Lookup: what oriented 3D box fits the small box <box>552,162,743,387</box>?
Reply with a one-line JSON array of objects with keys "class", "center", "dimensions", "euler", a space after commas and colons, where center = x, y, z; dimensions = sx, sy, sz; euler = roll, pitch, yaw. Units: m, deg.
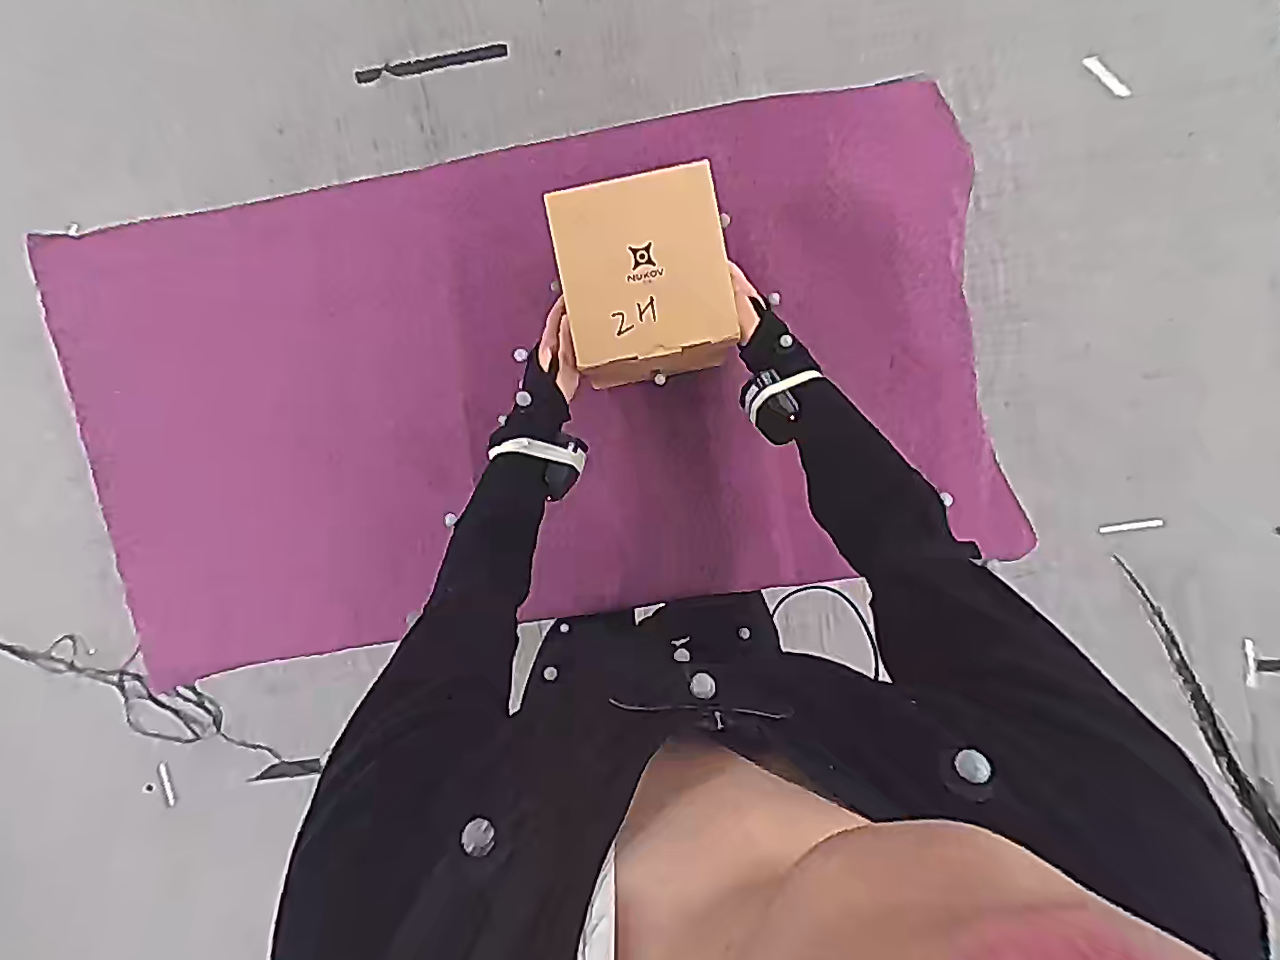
[{"class": "small box", "center": [0.007, -0.213, 0.606], "dimensions": [0.168, 0.176, 0.179], "euler": [-10, 93, 1]}]
